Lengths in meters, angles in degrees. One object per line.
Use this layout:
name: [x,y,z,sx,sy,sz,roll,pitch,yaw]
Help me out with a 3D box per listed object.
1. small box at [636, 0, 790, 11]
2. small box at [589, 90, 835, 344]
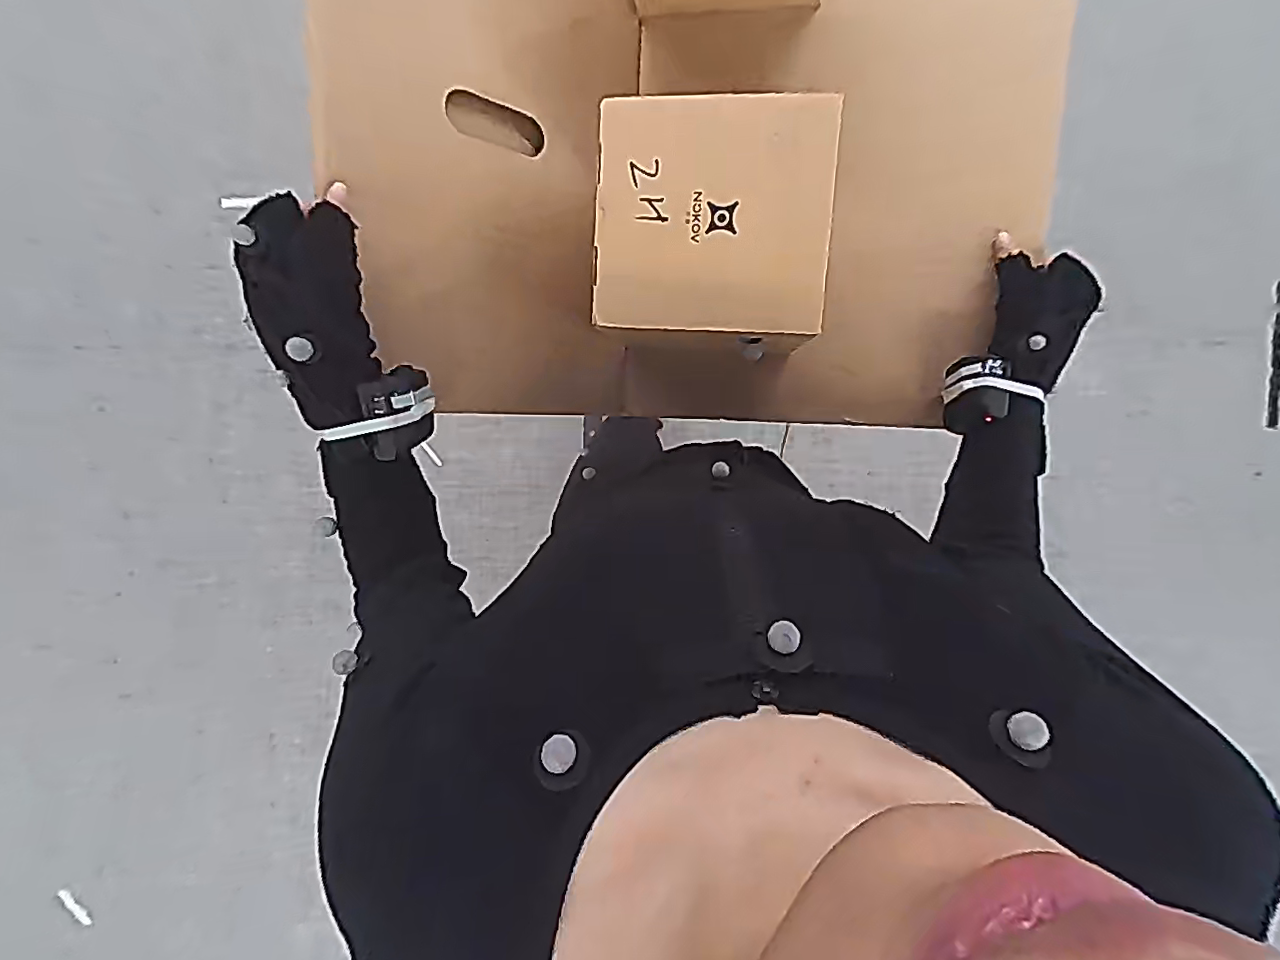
small box: [0.070,-0.534,0.445,0.179,0.176,0.168,2,98,7]
small box: [0.060,-0.217,0.489,0.179,0.176,0.168,5,98,8]
